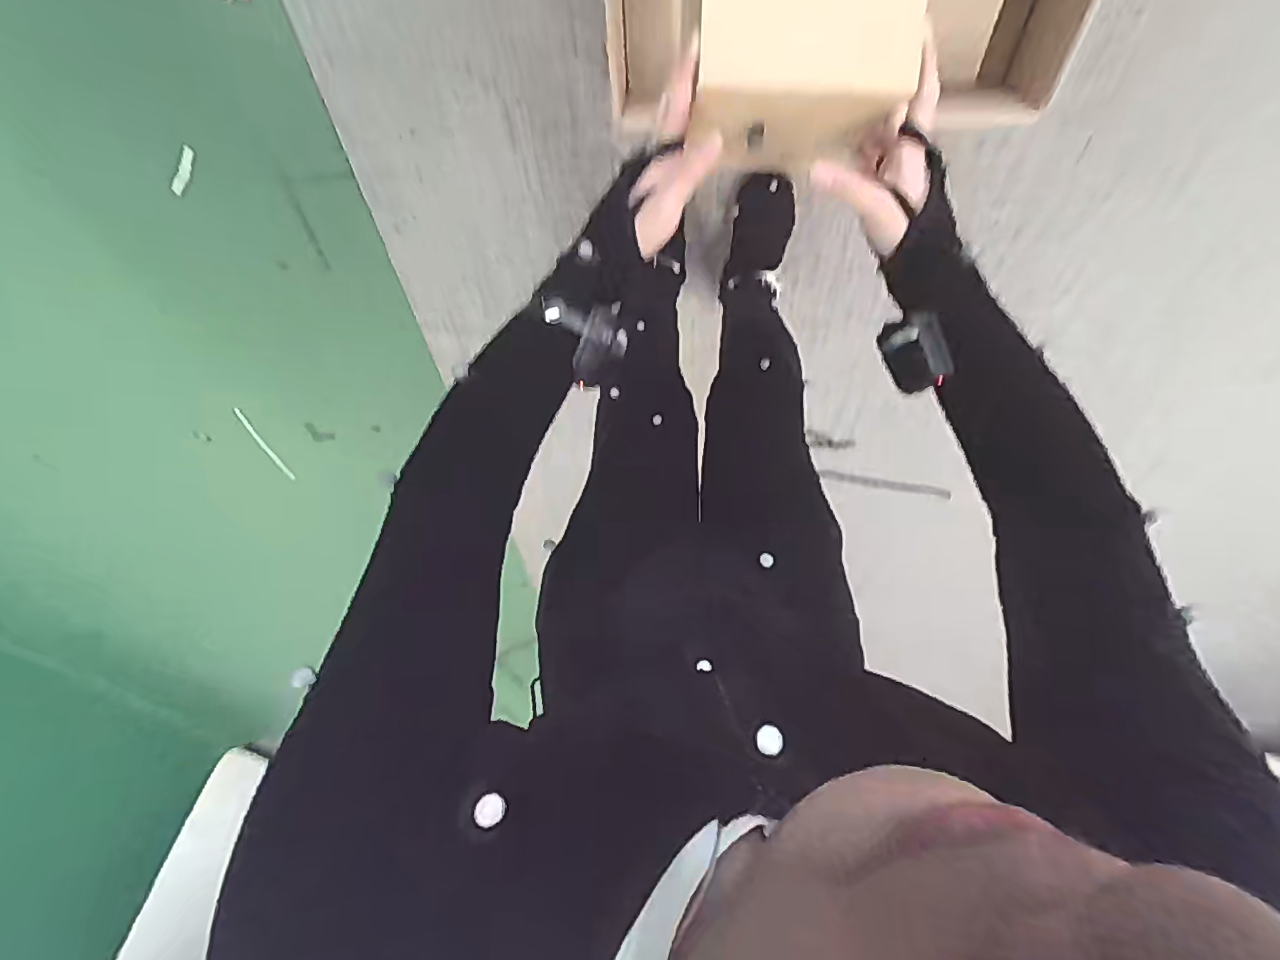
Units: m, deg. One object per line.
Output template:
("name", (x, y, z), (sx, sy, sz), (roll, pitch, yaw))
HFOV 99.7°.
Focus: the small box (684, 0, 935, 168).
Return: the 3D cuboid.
("small box", (0.127, -0.383, 0.453), (0.168, 0.176, 0.179), (0, 100, 0))
